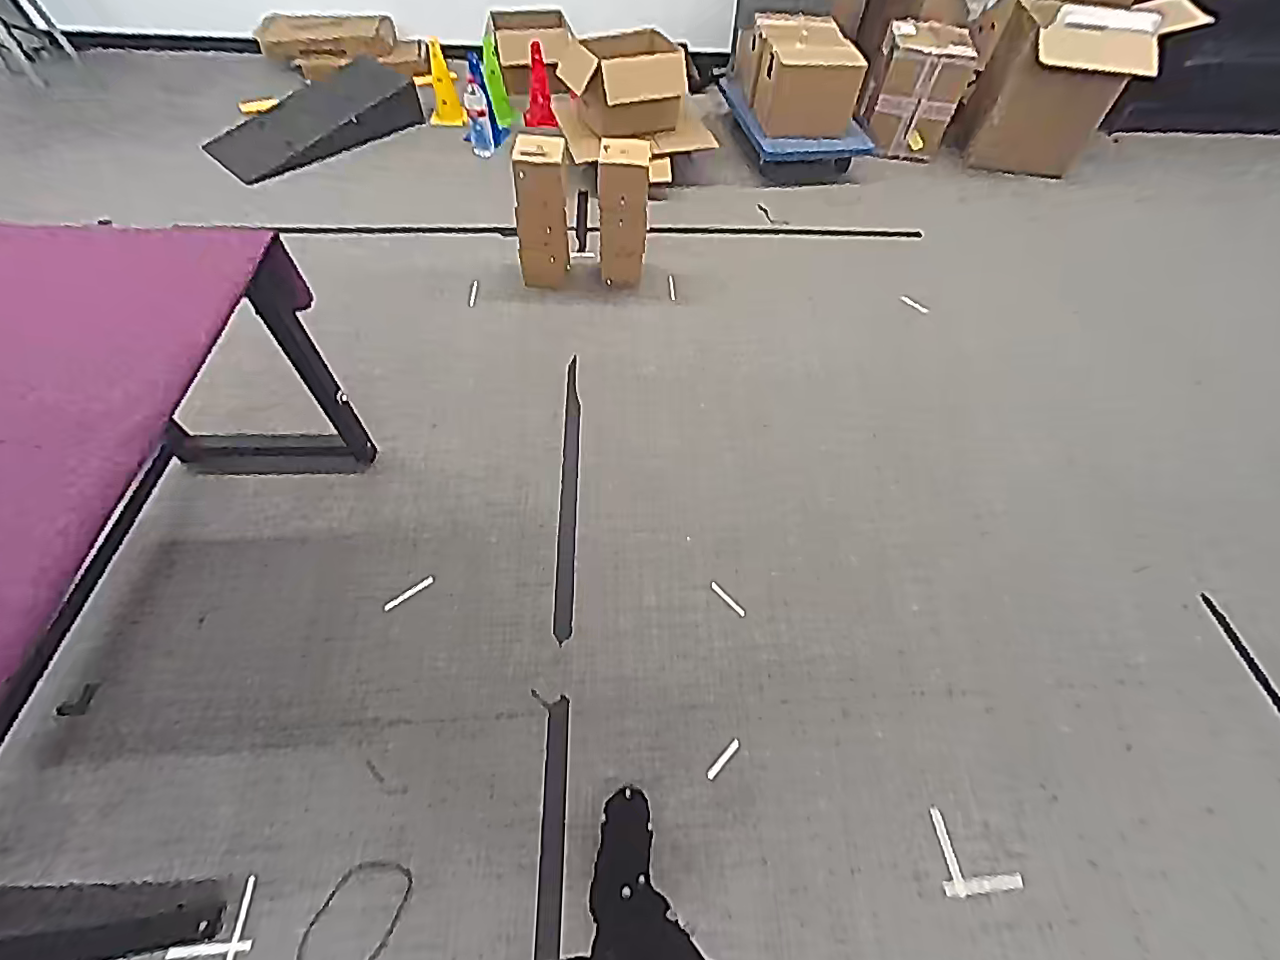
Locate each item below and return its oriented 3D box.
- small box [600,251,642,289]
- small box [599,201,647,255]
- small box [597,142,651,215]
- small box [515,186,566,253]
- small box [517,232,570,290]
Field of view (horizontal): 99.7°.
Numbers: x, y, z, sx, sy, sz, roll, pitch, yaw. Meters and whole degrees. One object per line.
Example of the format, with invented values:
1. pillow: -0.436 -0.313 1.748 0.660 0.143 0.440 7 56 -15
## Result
1. small box: -0.080 -0.898 2.200 0.168 0.176 0.179 -1 55 -5
2. small box: -0.066 -0.976 2.055 0.179 0.176 0.168 1 57 -4
3. small box: -0.057 -1.065 1.918 0.179 0.176 0.168 4 56 -2
4. small box: -0.370 -0.981 2.044 0.168 0.176 0.179 4 54 -3
5. small box: -0.382 -0.883 2.173 0.179 0.176 0.168 4 55 -1
